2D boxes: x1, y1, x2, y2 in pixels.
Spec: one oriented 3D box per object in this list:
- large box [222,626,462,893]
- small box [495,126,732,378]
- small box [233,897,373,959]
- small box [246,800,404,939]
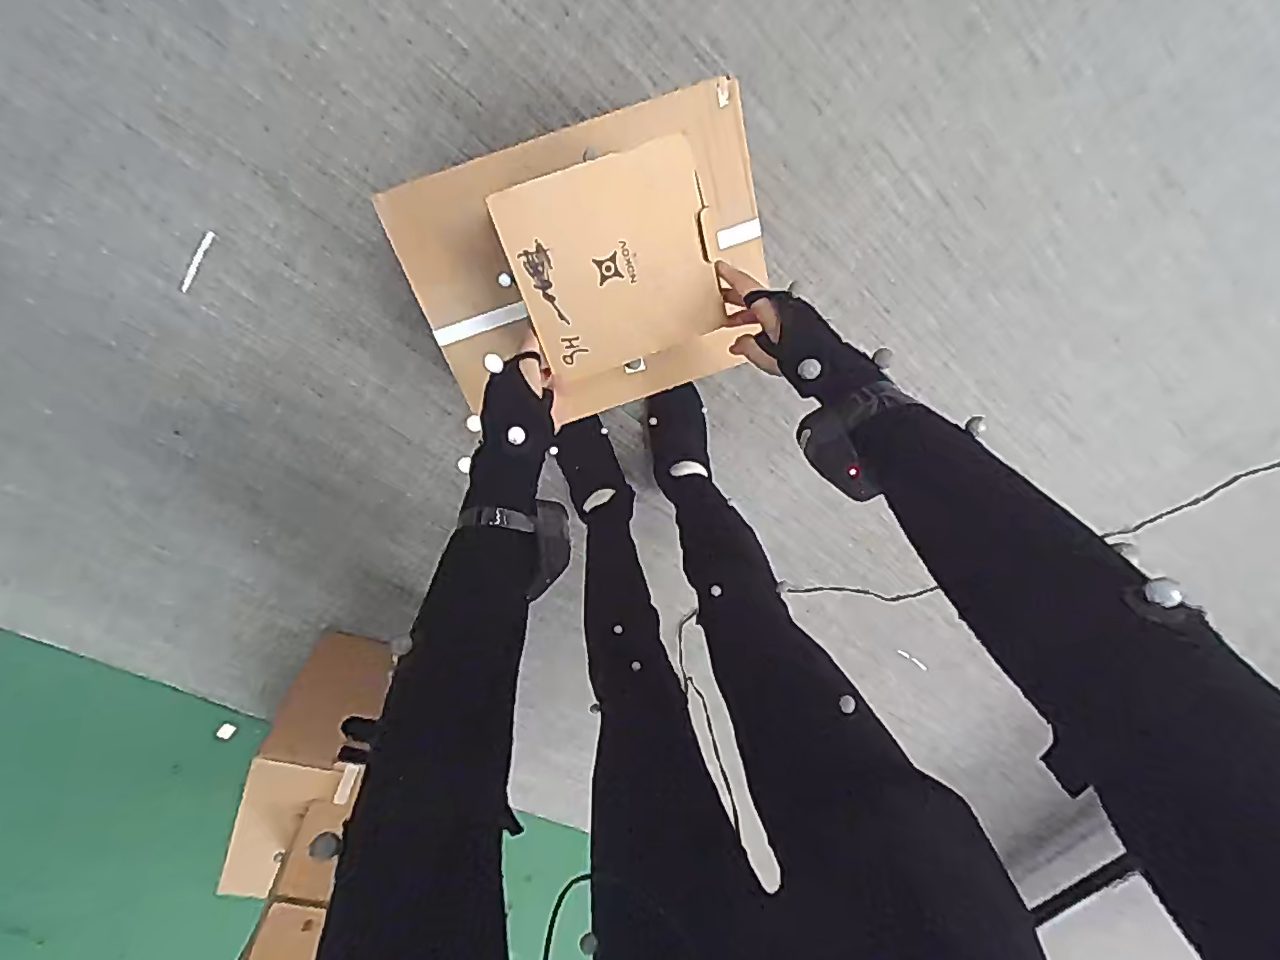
[{"bbox_3d":[-0.600,0.583,1.135,0.320,0.320,0.408,21,113,-17],"label":"large box"},{"bbox_3d":[-0.033,-0.222,0.536,0.179,0.176,0.168,-21,116,-5],"label":"small box"},{"bbox_3d":[-0.509,0.745,0.770,0.168,0.176,0.179,27,108,-20],"label":"small box"},{"bbox_3d":[-0.527,0.680,0.918,0.179,0.176,0.168,26,109,-20],"label":"small box"}]
